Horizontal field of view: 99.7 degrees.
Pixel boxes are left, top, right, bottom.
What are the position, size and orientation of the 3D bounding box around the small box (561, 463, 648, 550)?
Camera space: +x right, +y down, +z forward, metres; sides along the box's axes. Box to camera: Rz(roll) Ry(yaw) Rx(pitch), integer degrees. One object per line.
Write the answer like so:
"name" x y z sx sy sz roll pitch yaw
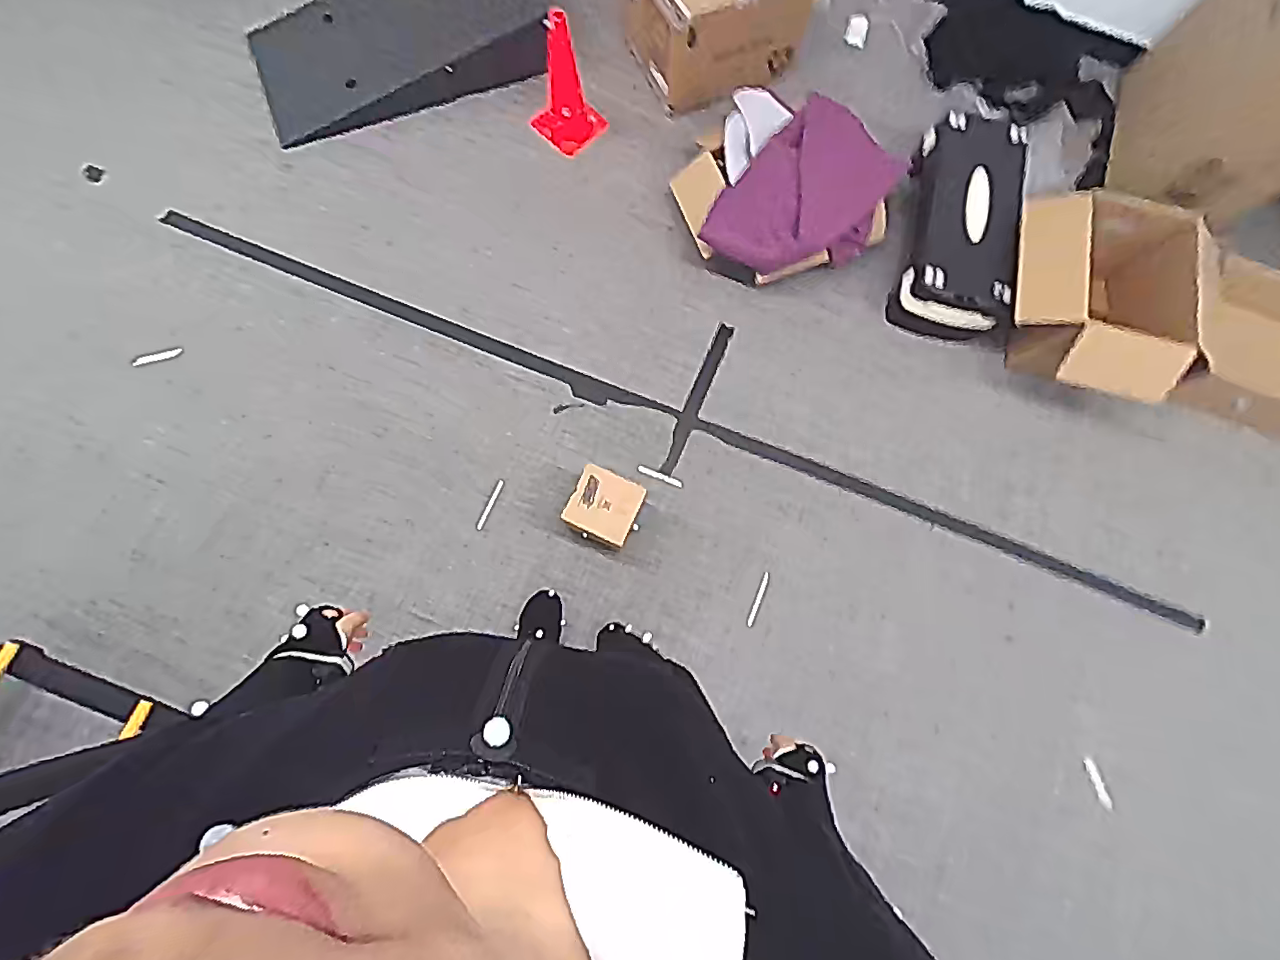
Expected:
"small box" -0.096 0.080 1.465 0.179 0.176 0.168 26 78 2
